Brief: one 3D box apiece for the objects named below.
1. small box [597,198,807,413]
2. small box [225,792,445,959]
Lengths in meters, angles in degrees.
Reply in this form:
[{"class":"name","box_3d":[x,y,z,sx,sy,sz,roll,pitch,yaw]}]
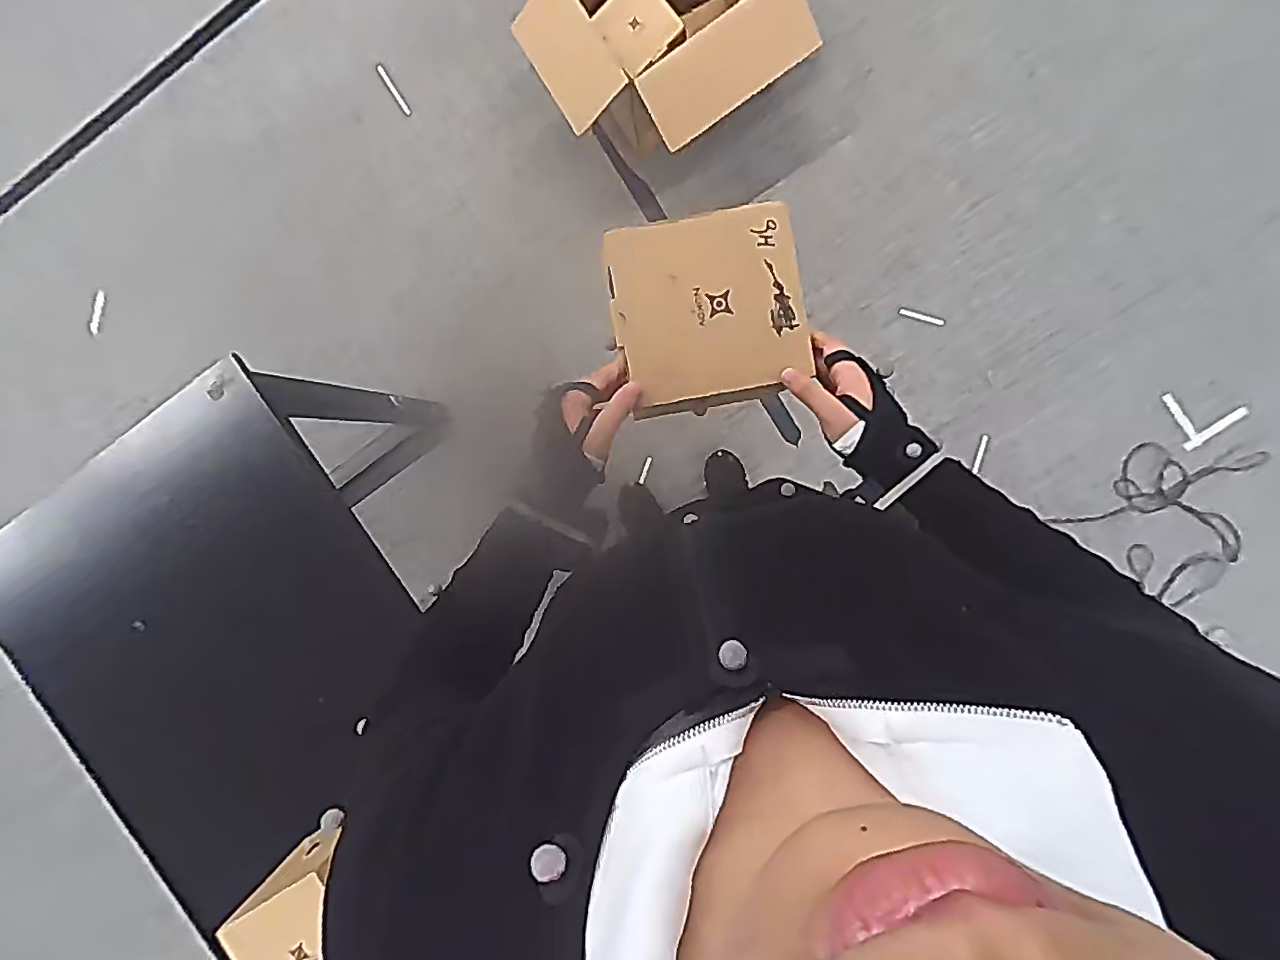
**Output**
[{"class":"small box","box_3d":[0.059,-0.170,0.582,0.179,0.176,0.168,-10,94,0]},{"class":"small box","box_3d":[-0.418,0.587,0.770,0.168,0.176,0.179,-34,91,7]}]
